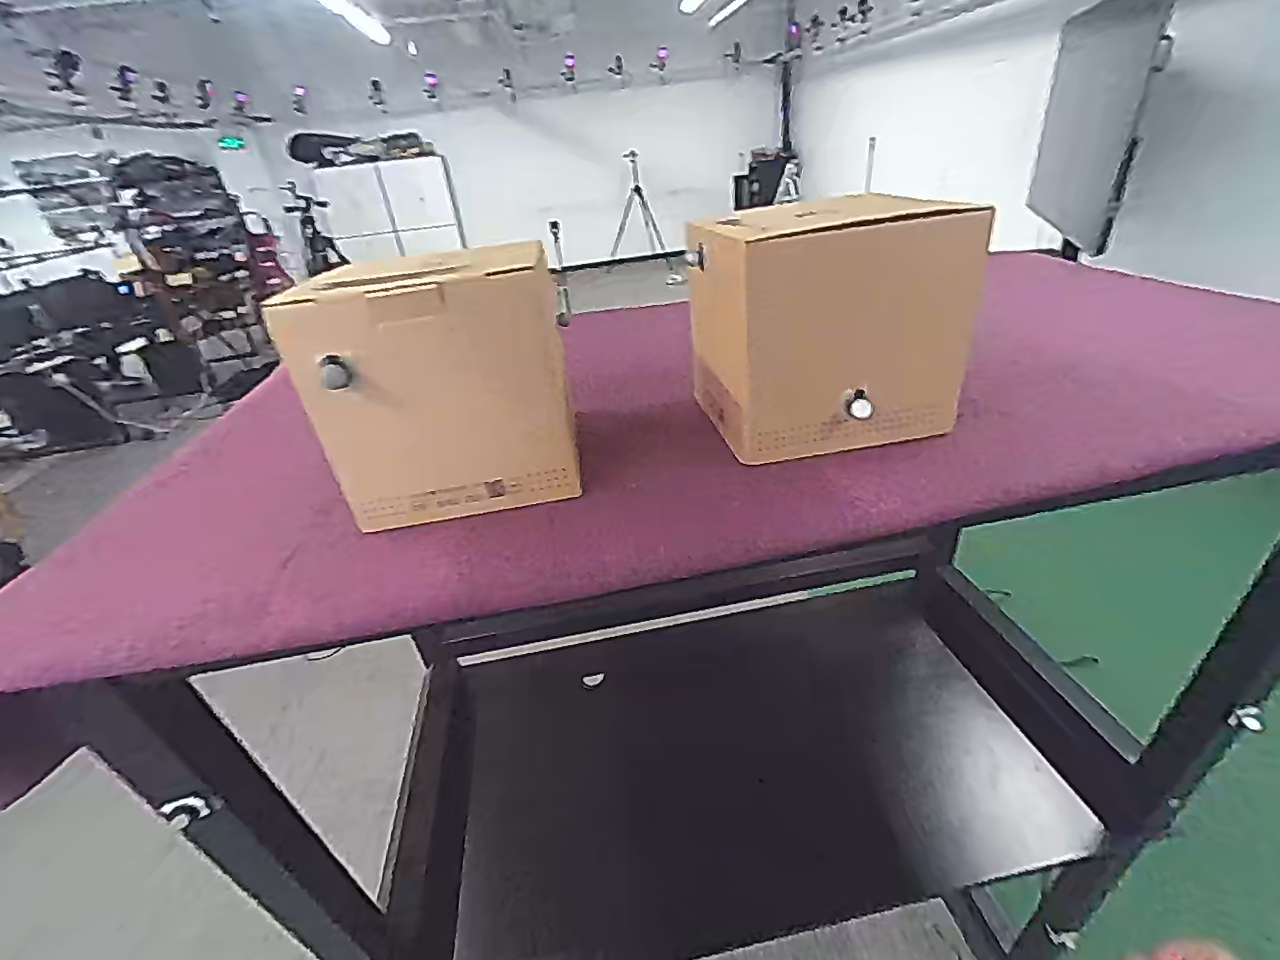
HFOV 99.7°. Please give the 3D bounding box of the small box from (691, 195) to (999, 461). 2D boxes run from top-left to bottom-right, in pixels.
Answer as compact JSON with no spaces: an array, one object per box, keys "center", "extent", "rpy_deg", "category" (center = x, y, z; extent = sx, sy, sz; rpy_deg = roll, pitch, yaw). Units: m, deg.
[{"center":[0.145,-0.132,0.451],"extent":[0.179,0.176,0.168],"rpy_deg":[-9,30,-5],"category":"small box"}]
